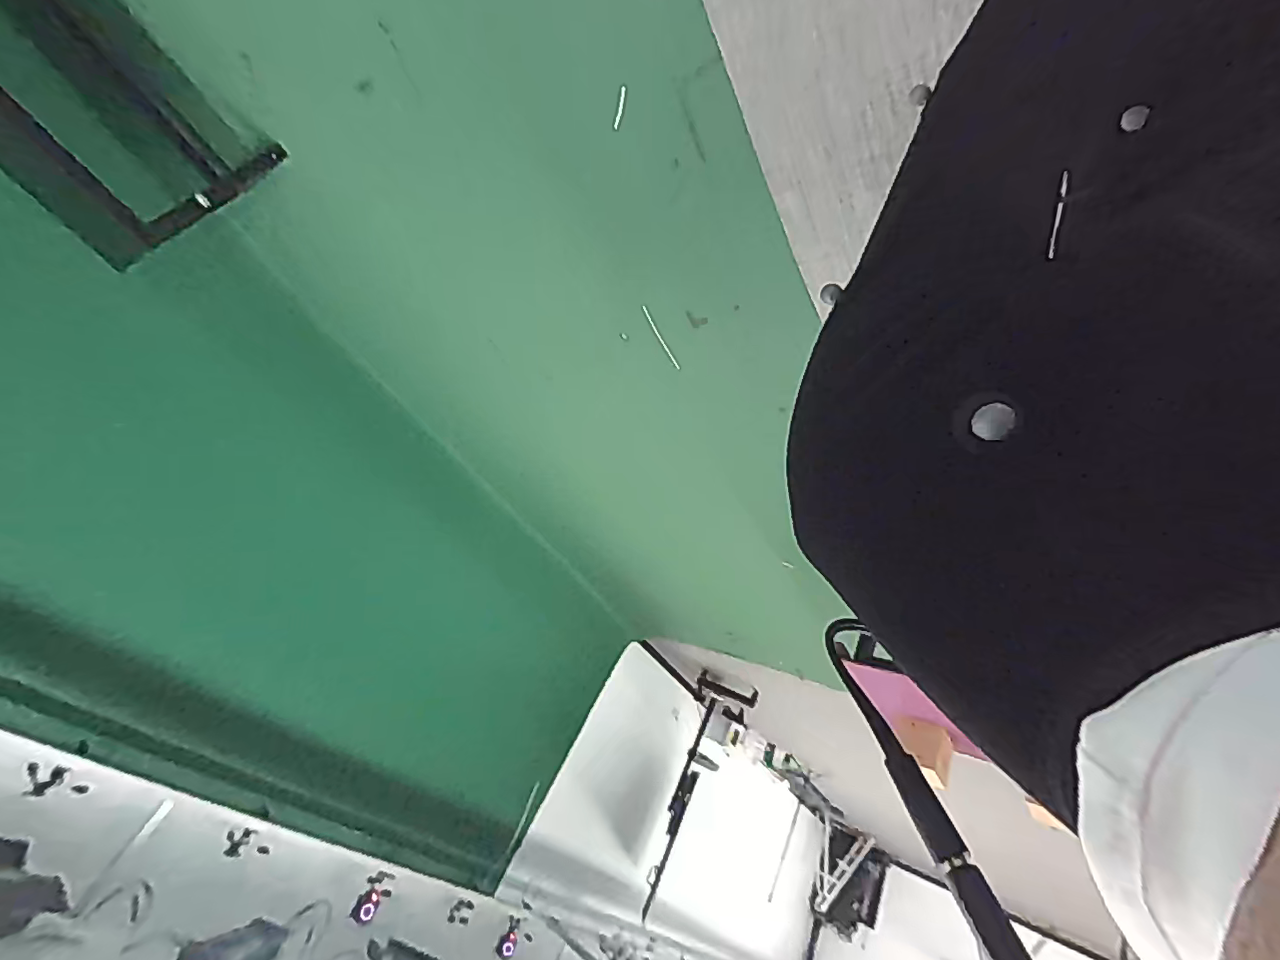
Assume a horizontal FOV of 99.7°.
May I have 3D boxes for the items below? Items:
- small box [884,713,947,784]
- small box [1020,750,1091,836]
[{"bbox_3d":[1.067,1.031,2.083,0.168,0.176,0.179,-1,138,44],"label":"small box"},{"bbox_3d":[1.377,1.028,1.786,0.168,0.176,0.179,-3,136,45],"label":"small box"}]
